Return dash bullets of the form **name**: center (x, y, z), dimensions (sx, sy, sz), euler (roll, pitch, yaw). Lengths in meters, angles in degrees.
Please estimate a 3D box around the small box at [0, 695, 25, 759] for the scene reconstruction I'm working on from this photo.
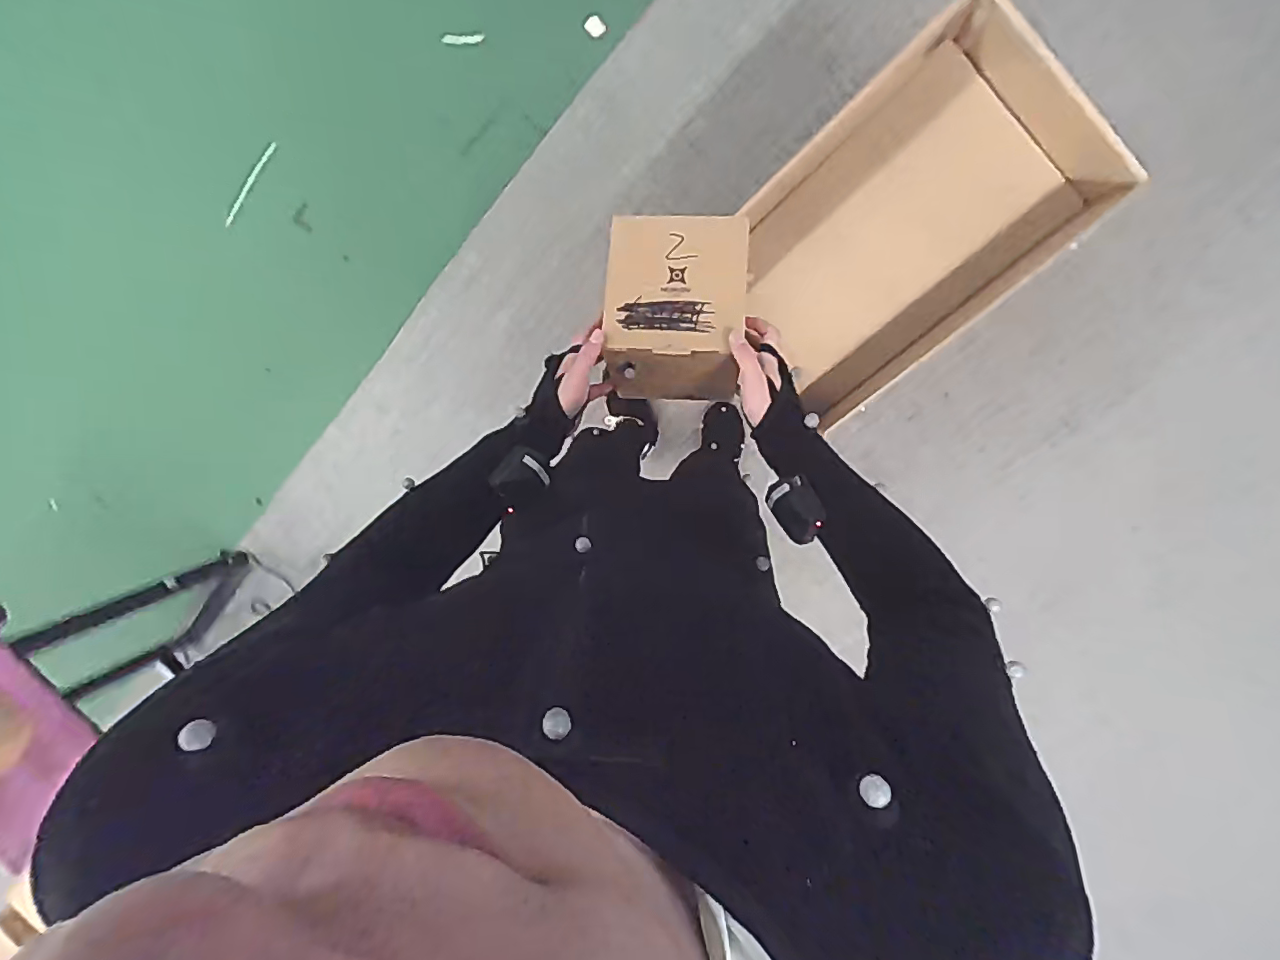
- **small box**: center (-1.637, 0.616, 1.282), dimensions (0.168, 0.176, 0.179), euler (45, 108, -3)

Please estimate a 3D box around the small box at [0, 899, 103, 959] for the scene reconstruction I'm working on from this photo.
- **small box**: center (-1.554, 1.130, 1.391), dimensions (0.179, 0.176, 0.168), euler (-41, 92, 17)

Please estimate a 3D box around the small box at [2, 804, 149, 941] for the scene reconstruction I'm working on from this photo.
- **small box**: center (-1.347, 0.935, 1.301), dimensions (0.168, 0.176, 0.179), euler (44, 108, 0)
